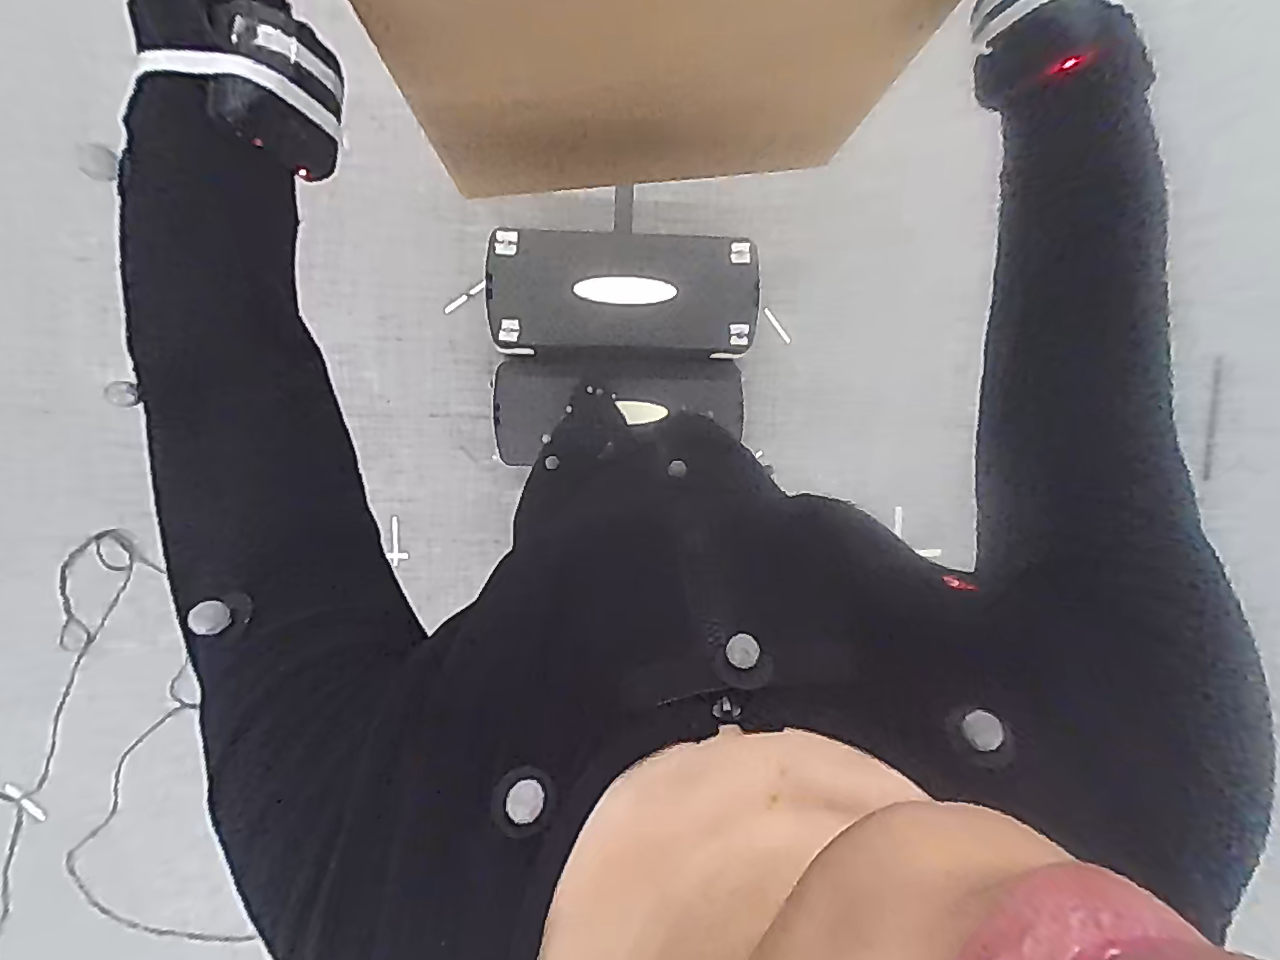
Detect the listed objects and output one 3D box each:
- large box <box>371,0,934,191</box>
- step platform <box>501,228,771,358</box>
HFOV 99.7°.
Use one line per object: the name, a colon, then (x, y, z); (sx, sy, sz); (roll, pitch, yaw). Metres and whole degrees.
large box: (-0.002, -0.474, 0.435); (0.408, 0.320, 0.320); (-8, 95, -4)
step platform: (-0.010, -0.477, 1.405); (0.684, 0.204, 0.286); (0, 96, -6)
